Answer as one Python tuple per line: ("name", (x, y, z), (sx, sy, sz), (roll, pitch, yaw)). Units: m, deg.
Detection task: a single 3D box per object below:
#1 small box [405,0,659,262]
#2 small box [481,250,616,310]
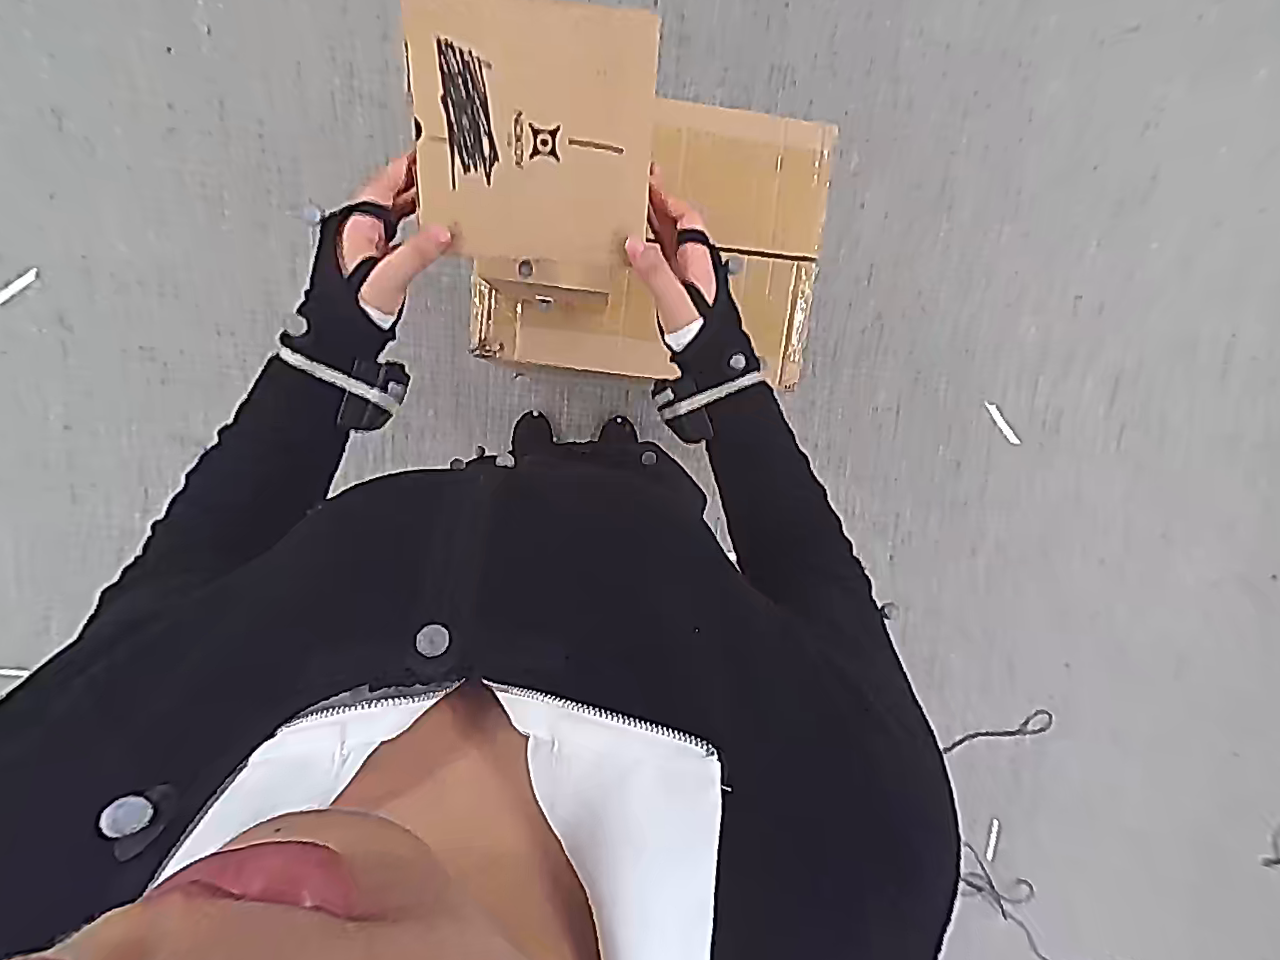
("small box", (-0.082, -0.285, 0.472), (0.179, 0.176, 0.168), (3, 112, -4))
("small box", (-0.112, -0.340, 0.737), (0.168, 0.176, 0.179), (5, 100, -4))
